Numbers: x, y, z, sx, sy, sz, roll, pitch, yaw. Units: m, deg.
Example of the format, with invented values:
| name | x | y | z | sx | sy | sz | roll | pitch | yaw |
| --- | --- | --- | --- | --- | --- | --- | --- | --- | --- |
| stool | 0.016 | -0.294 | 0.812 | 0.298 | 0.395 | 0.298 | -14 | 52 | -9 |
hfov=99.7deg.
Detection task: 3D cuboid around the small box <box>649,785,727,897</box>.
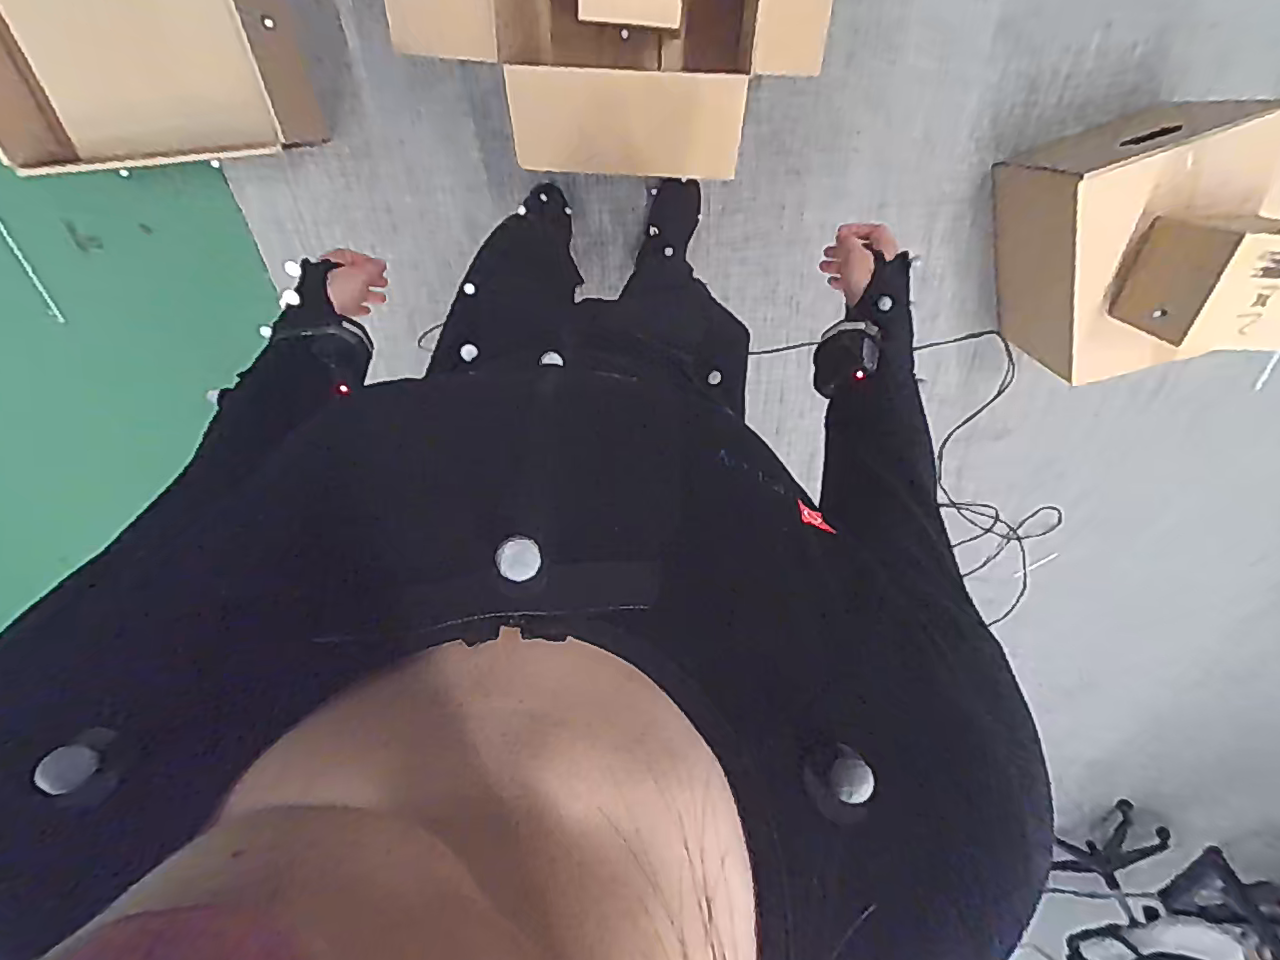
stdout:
| name | x | y | z | sx | sy | sz | roll | pitch | yaw |
| --- | --- | --- | --- | --- | --- | --- | --- | --- | --- |
| small box | 0.115 | 0.843 | 1.267 | 0.168 | 0.176 | 0.179 | -4 | 124 | 8 |
